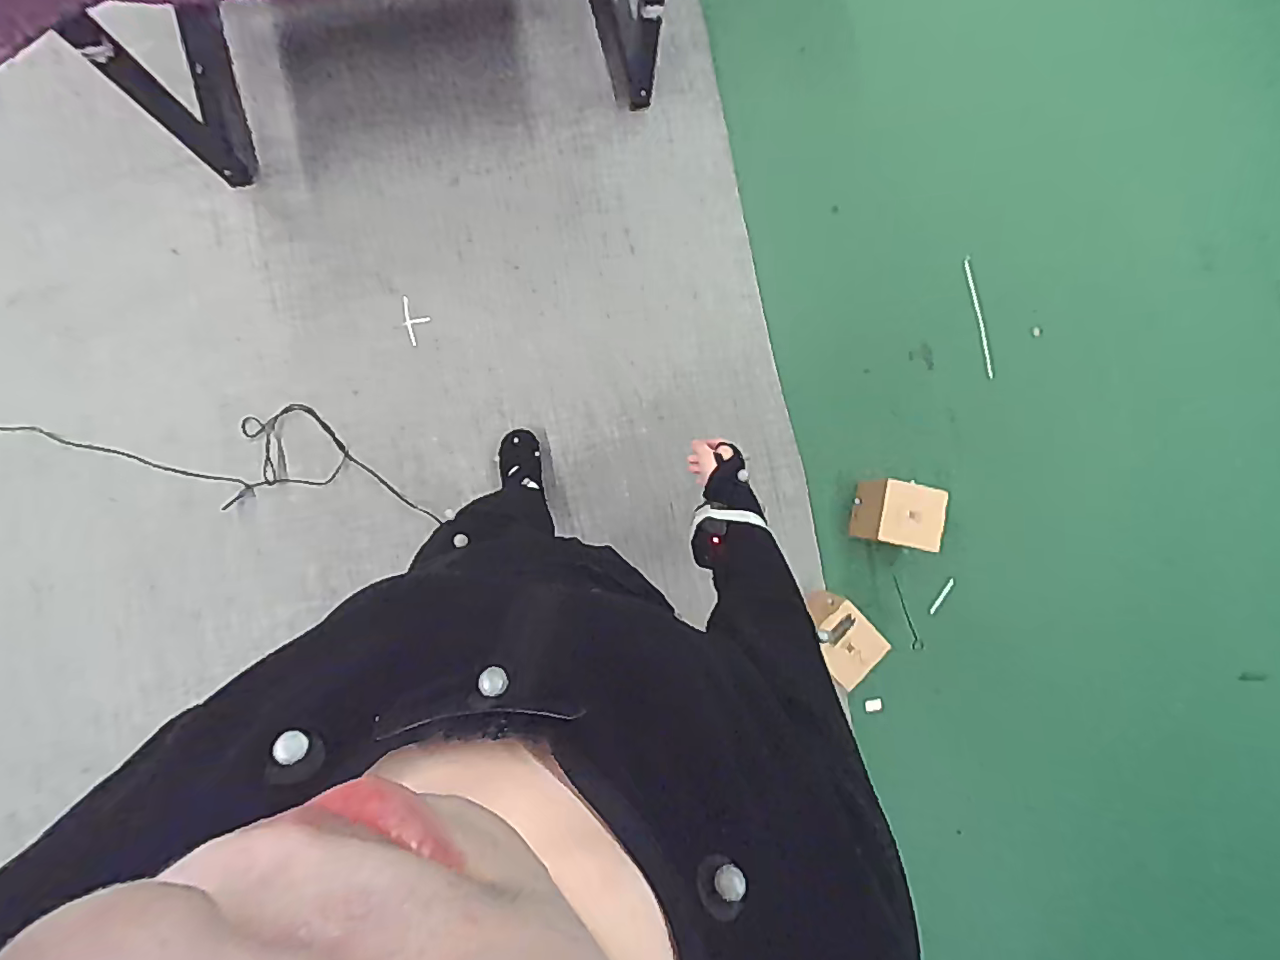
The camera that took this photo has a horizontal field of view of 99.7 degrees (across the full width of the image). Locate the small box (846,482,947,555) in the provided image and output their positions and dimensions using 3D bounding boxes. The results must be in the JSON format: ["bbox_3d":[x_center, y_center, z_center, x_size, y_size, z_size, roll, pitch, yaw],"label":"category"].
[{"bbox_3d":[0.707,0.104,1.502,0.179,0.176,0.168,13,86,-5],"label":"small box"}]
